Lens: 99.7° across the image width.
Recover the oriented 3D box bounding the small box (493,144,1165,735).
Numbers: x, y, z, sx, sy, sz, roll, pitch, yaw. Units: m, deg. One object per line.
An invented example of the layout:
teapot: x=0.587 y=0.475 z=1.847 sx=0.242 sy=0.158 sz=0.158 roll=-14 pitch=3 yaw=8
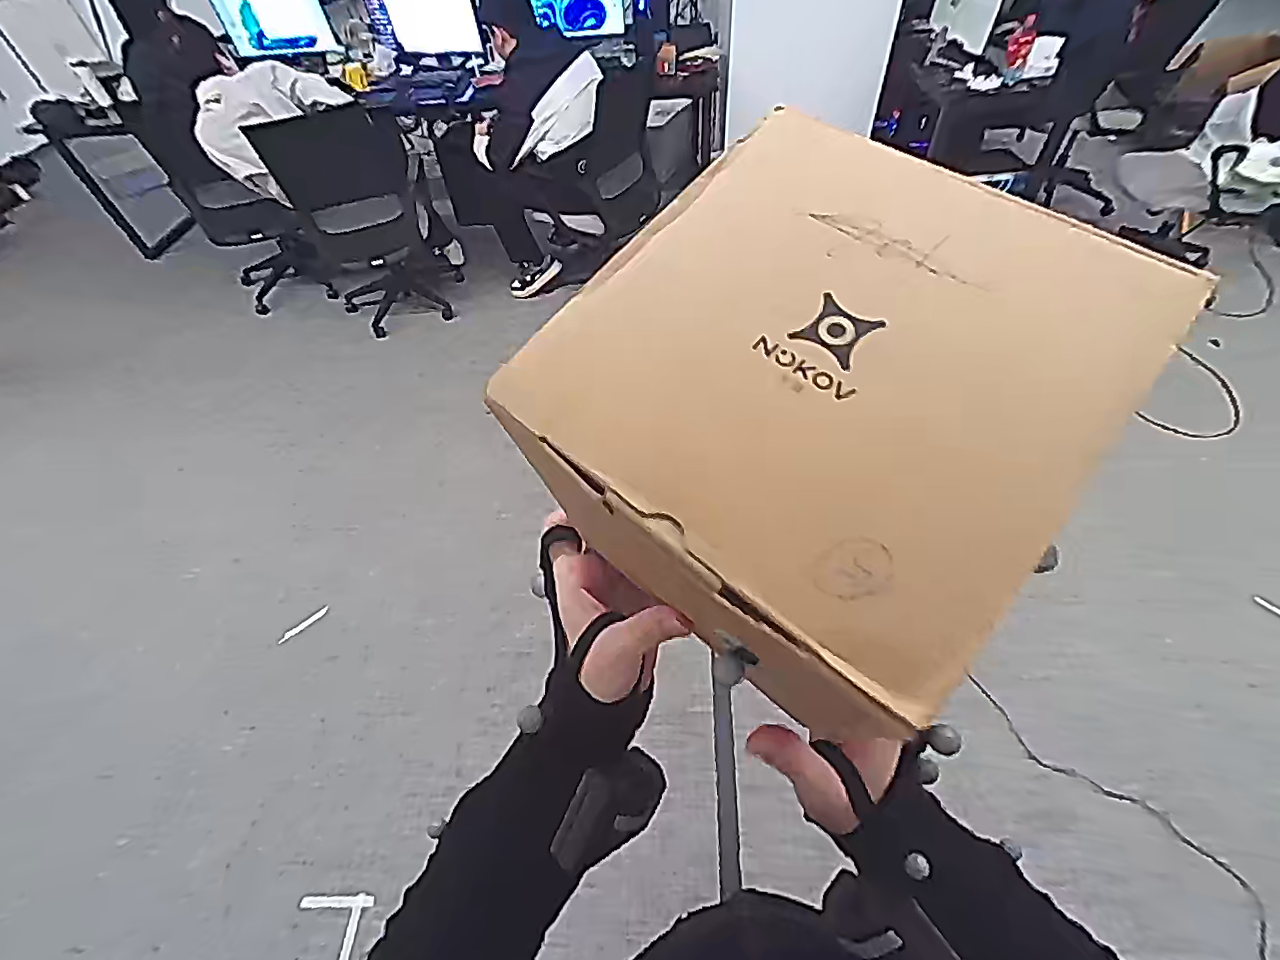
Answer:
small box: x=0.070 y=-0.007 z=0.261 sx=0.168 sy=0.176 sz=0.179 roll=37 pitch=75 yaw=19
